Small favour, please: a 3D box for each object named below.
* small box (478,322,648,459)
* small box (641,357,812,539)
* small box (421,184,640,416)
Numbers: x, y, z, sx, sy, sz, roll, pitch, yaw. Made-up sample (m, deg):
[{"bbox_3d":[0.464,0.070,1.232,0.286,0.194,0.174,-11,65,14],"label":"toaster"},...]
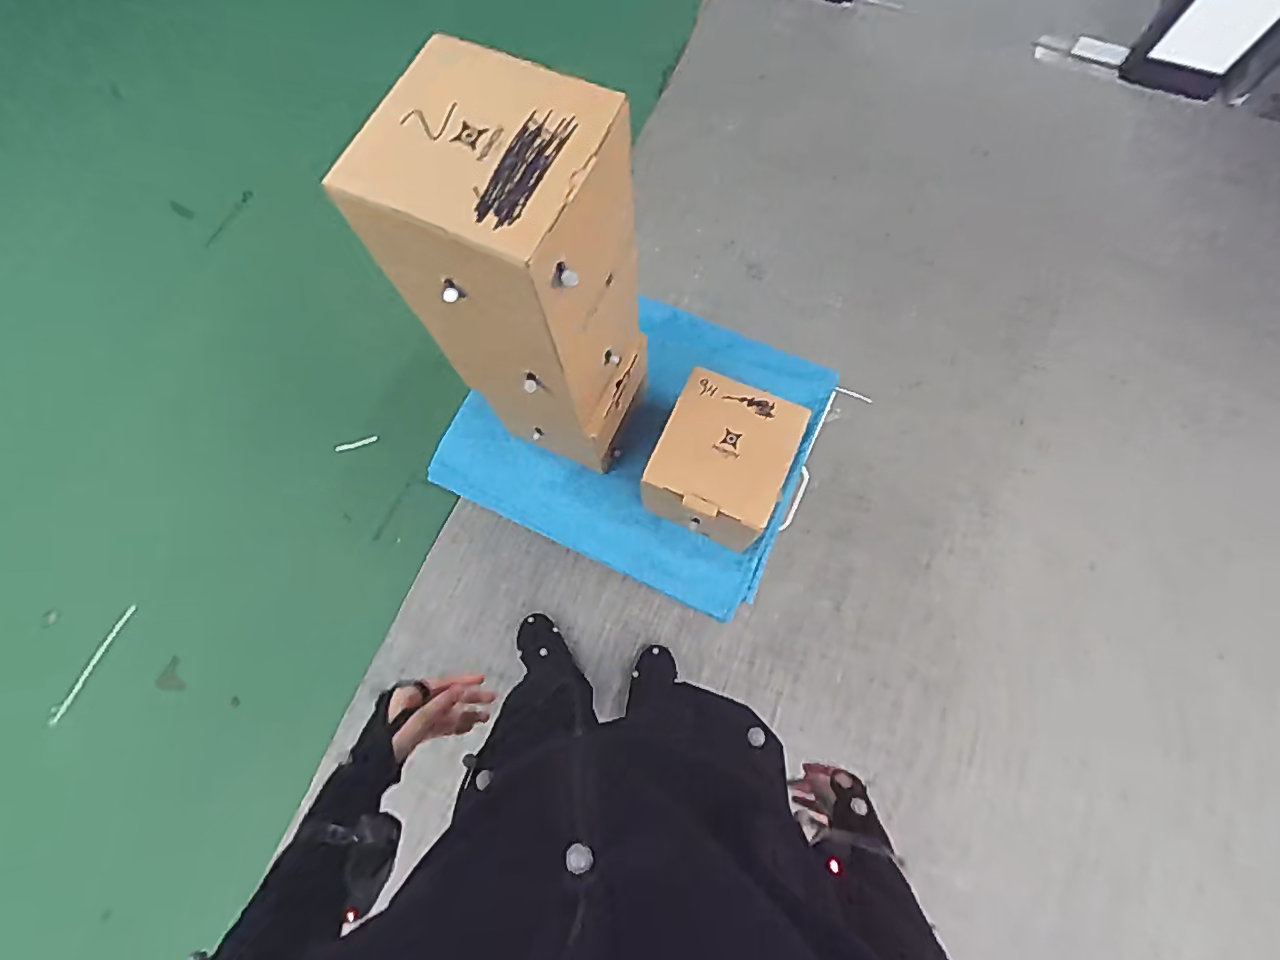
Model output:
[{"bbox_3d":[-0.099,-0.147,0.790,0.179,0.176,0.168,24,75,8],"label":"small box"},{"bbox_3d":[0.113,-0.033,0.754,0.168,0.176,0.179,24,76,7],"label":"small box"},{"bbox_3d":[-0.111,-0.195,0.633,0.179,0.176,0.168,24,75,7],"label":"small box"}]
